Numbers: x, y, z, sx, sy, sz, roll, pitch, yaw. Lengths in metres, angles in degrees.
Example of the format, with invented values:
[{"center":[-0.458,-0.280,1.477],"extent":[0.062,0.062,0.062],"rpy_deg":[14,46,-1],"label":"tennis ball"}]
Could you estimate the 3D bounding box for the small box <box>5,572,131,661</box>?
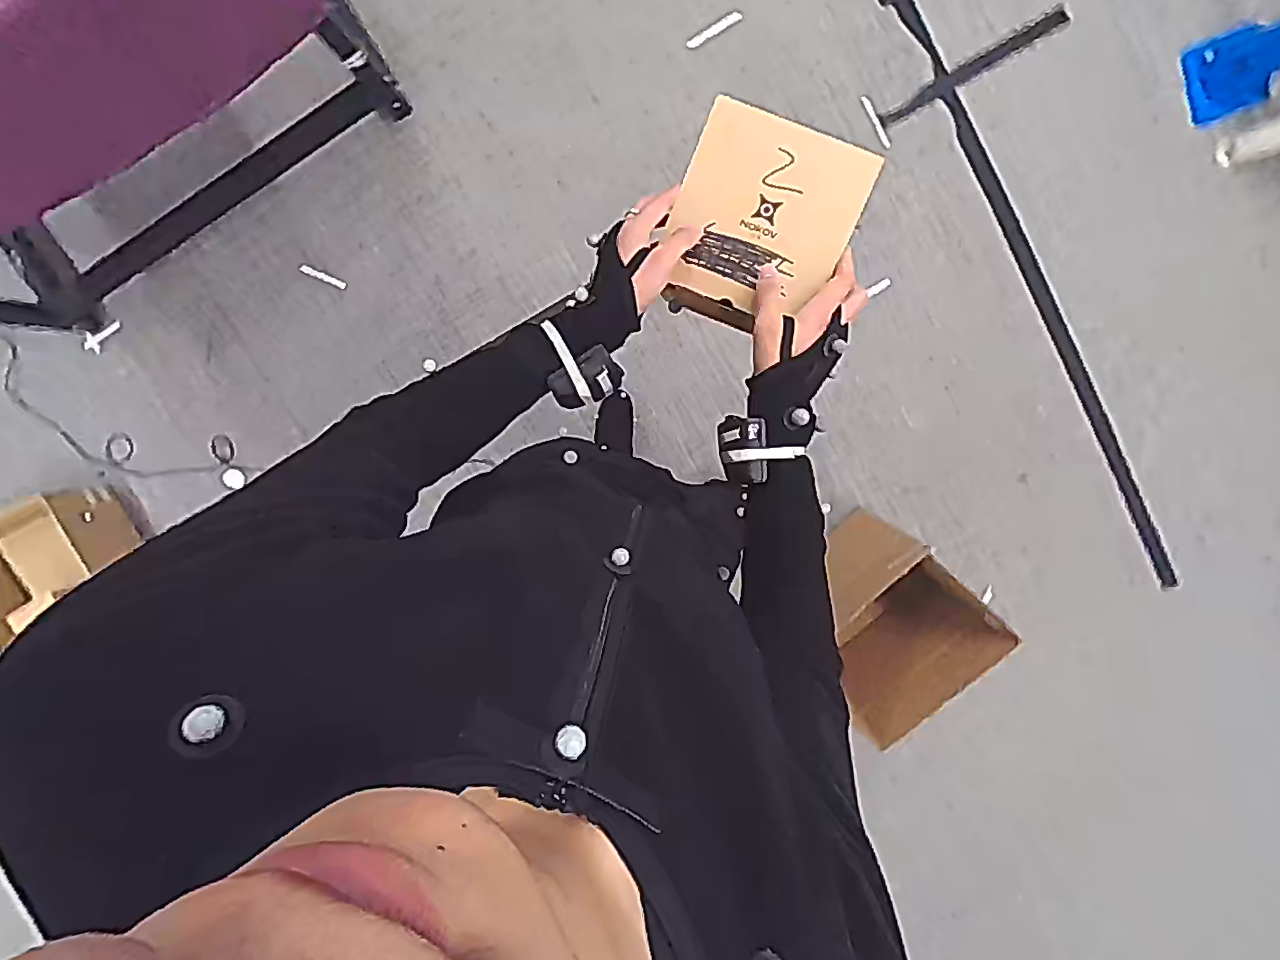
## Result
[{"center":[-1.677,0.397,1.603],"extent":[0.179,0.176,0.168],"rpy_deg":[-28,96,6],"label":"small box"}]
